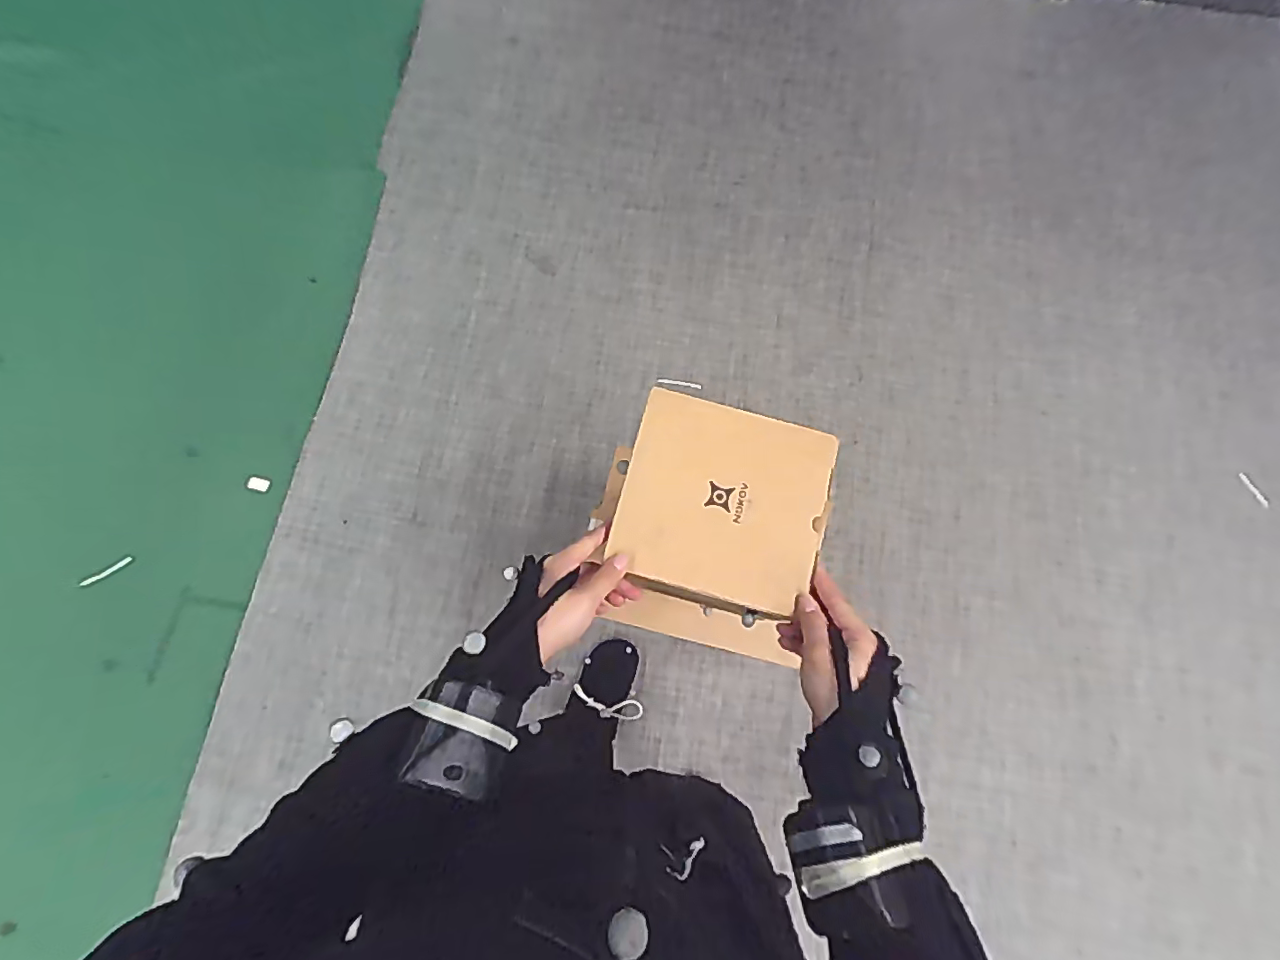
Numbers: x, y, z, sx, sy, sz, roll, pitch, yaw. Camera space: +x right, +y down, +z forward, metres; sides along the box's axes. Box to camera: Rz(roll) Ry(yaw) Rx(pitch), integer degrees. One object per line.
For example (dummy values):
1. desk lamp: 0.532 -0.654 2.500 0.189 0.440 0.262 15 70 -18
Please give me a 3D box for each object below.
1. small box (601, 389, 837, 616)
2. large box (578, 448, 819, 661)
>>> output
1. small box: 0.067 0.035 0.536 0.179 0.176 0.168 15 76 0
2. large box: 0.110 0.159 1.109 0.408 0.320 0.320 14 78 1
